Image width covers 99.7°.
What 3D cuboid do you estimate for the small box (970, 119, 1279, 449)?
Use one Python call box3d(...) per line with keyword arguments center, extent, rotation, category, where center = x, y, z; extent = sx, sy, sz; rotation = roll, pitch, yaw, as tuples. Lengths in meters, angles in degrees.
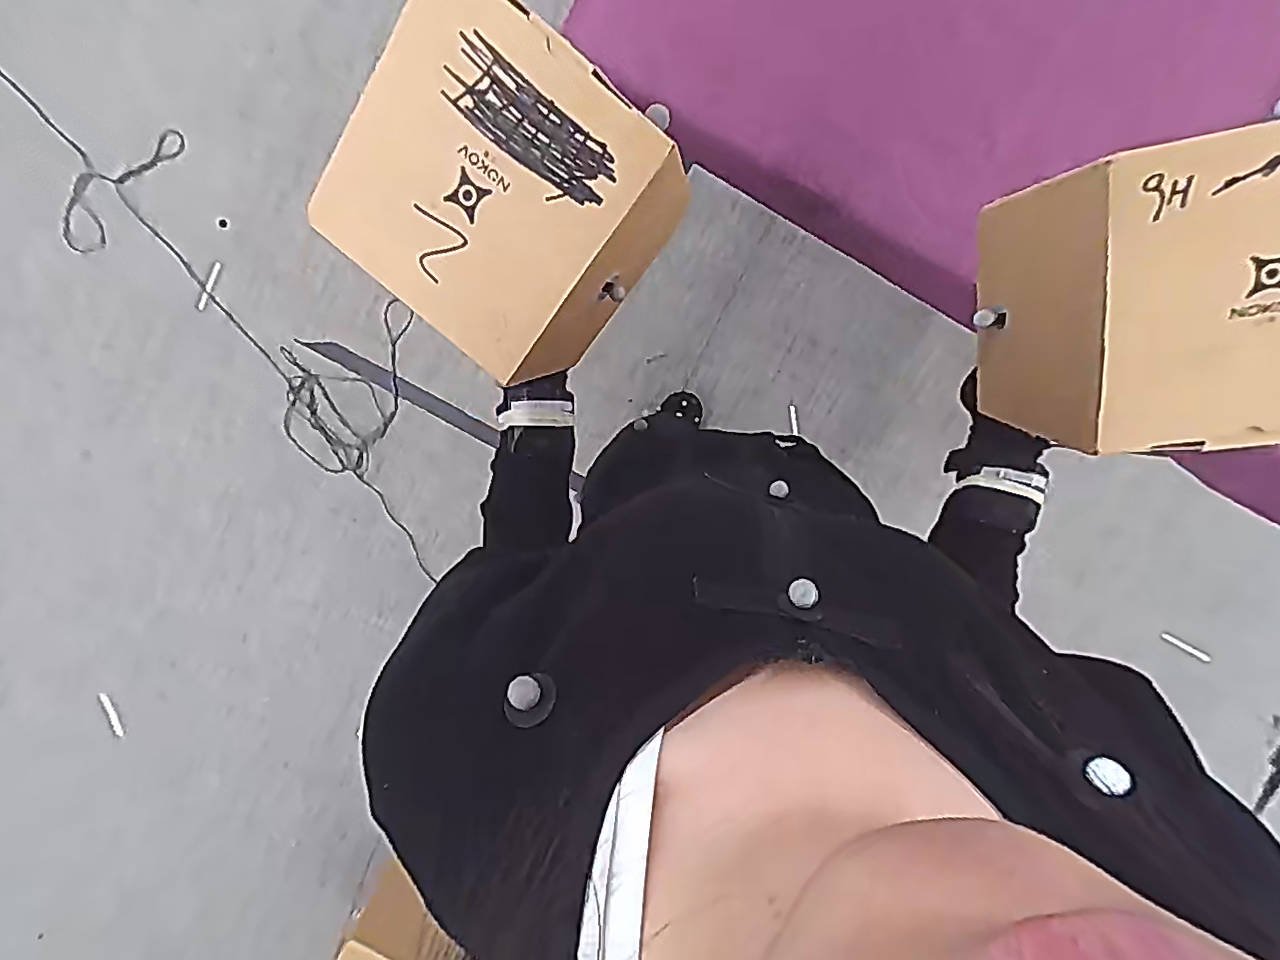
box3d(center=(0.361, -0.135, 0.387), extent=(0.168, 0.176, 0.179), rotation=(-7, 107, 10), category="small box")
